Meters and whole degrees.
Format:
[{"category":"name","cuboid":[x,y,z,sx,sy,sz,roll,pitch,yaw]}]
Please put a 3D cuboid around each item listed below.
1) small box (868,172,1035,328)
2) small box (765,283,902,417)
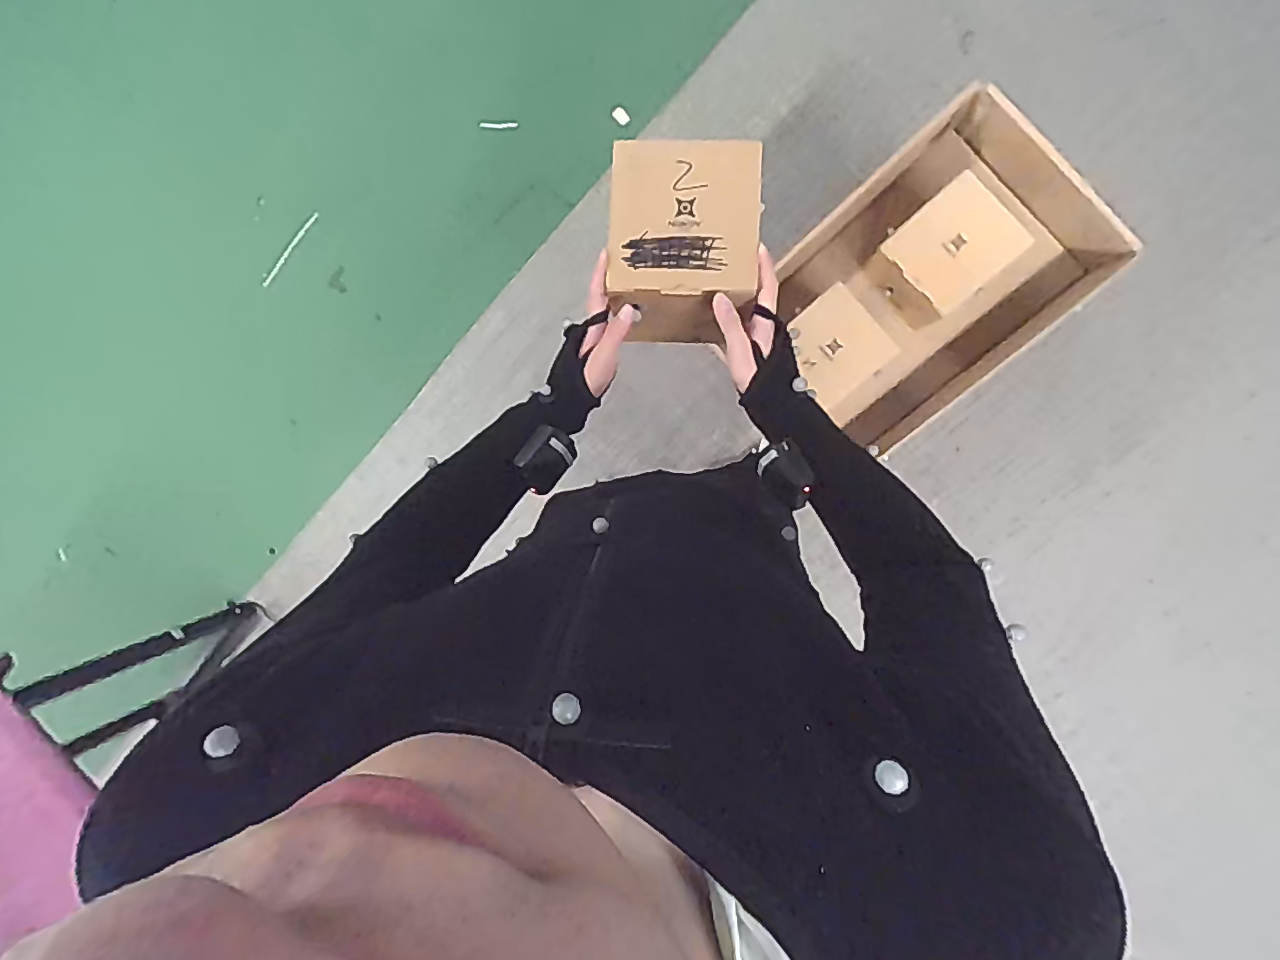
[{"category":"small box","cuboid":[0.543,-0.399,0.973,0.179,0.176,0.168,-42,87,15]},{"category":"small box","cuboid":[0.353,-0.236,1.027,0.179,0.176,0.168,-41,87,13]}]
